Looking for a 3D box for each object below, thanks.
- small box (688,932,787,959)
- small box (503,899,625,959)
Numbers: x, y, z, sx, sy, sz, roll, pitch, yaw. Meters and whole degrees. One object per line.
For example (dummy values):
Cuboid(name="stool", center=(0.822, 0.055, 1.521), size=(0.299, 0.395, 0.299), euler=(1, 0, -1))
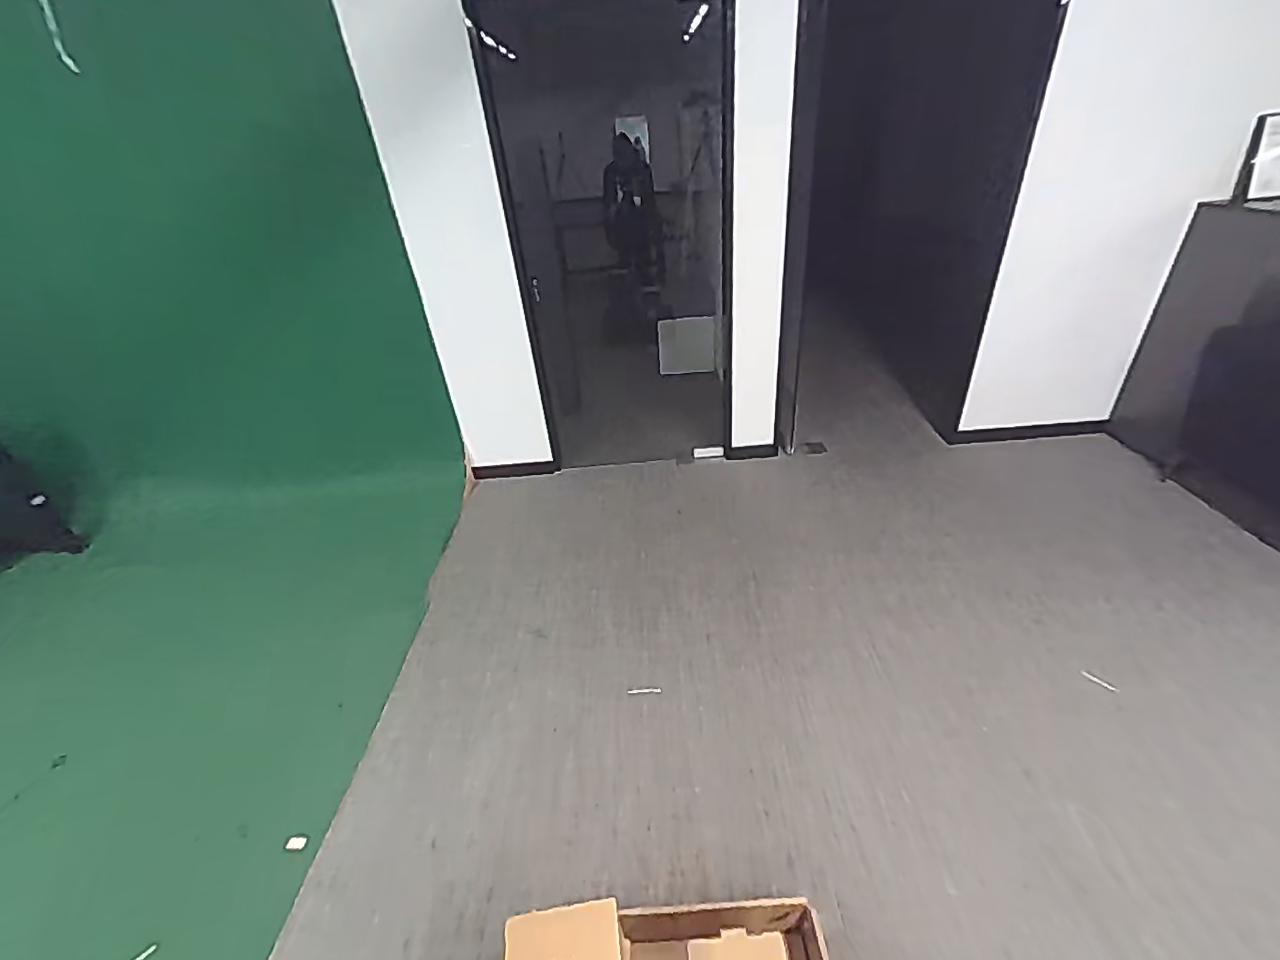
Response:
Cuboid(name="small box", center=(0.171, 0.896, 0.898), size=(0.168, 0.176, 0.179), euler=(-6, 33, 1))
Cuboid(name="small box", center=(-0.108, 0.777, 0.822), size=(0.179, 0.176, 0.168), euler=(-8, 35, -4))
